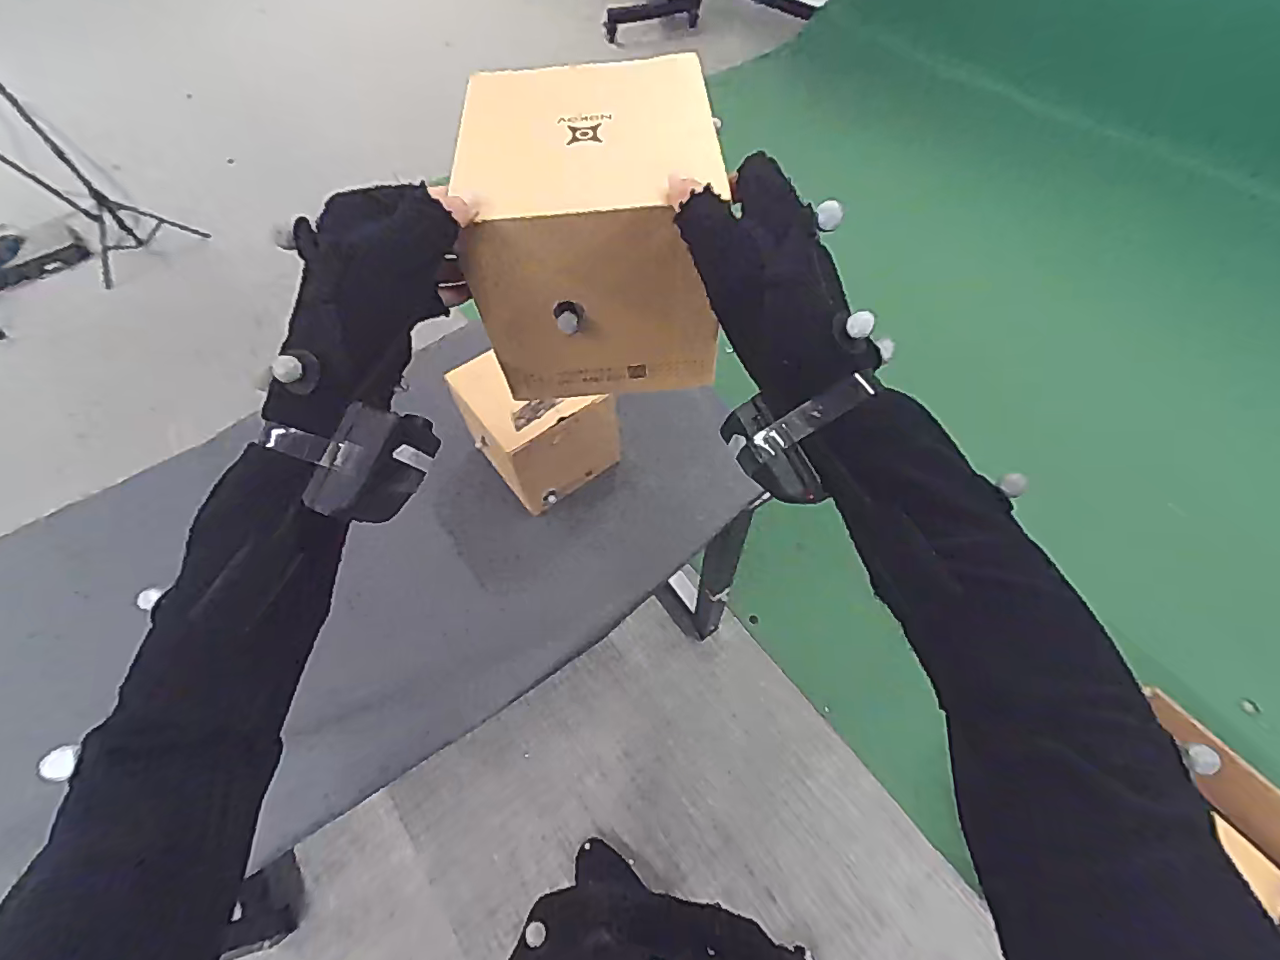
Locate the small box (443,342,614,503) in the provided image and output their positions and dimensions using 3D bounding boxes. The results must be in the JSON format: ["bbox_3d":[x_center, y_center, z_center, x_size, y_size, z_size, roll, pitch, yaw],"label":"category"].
[{"bbox_3d":[-0.153,-0.089,0.797,0.168,0.176,0.179,-34,62,-18],"label":"small box"}]

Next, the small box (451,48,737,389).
[{"bbox_3d":[-0.025,-0.182,0.410,0.168,0.176,0.179,-4,59,1],"label":"small box"}]
